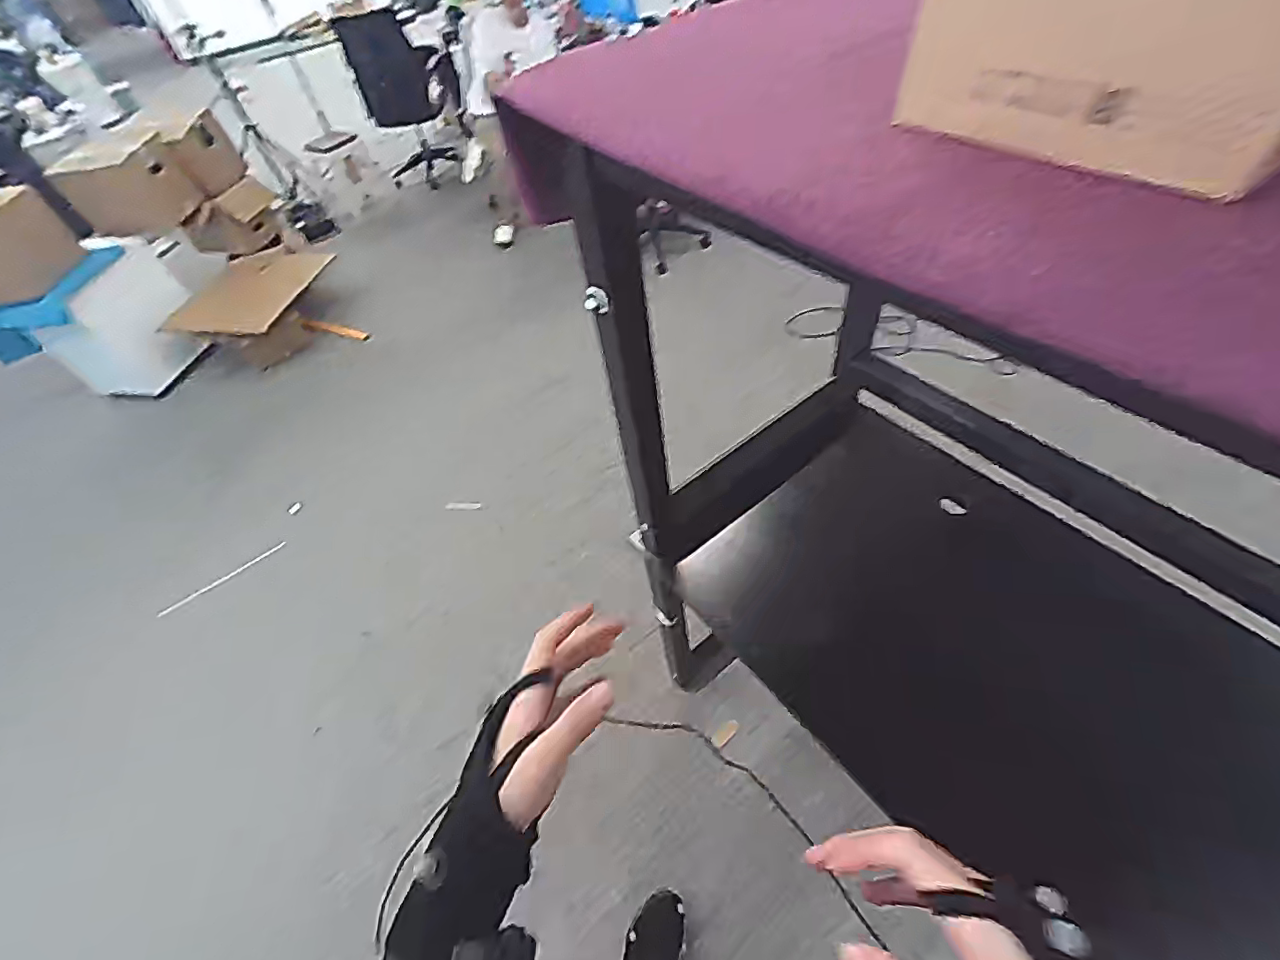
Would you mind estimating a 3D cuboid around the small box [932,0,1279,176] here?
[{"bbox_3d":[0.259,-0.257,0.232,0.179,0.176,0.168,-31,53,-18],"label":"small box"}]
